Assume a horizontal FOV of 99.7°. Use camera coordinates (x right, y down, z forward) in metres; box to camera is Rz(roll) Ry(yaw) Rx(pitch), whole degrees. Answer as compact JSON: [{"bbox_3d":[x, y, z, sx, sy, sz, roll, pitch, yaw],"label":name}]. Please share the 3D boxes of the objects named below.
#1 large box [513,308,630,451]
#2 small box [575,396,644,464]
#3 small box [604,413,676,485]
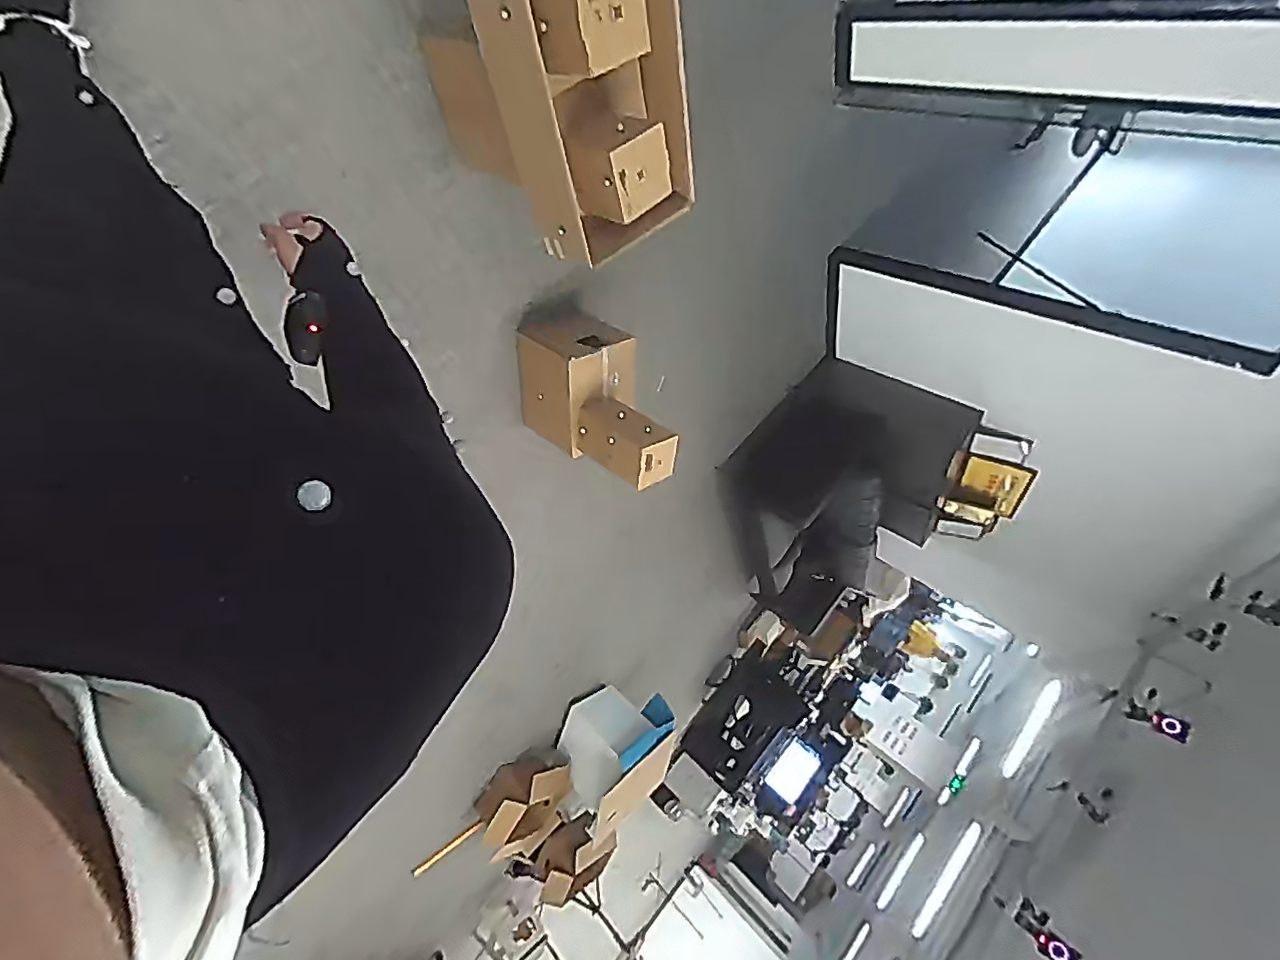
[{"bbox_3d":[-0.253,-0.388,2.062,0.320,0.320,0.408,-31,139,-35],"label":"large box"},{"bbox_3d":[-0.114,-0.188,1.962,0.179,0.176,0.168,-23,134,-38],"label":"small box"},{"bbox_3d":[-0.005,-0.112,1.867,0.179,0.176,0.168,-24,135,-40],"label":"small box"}]
